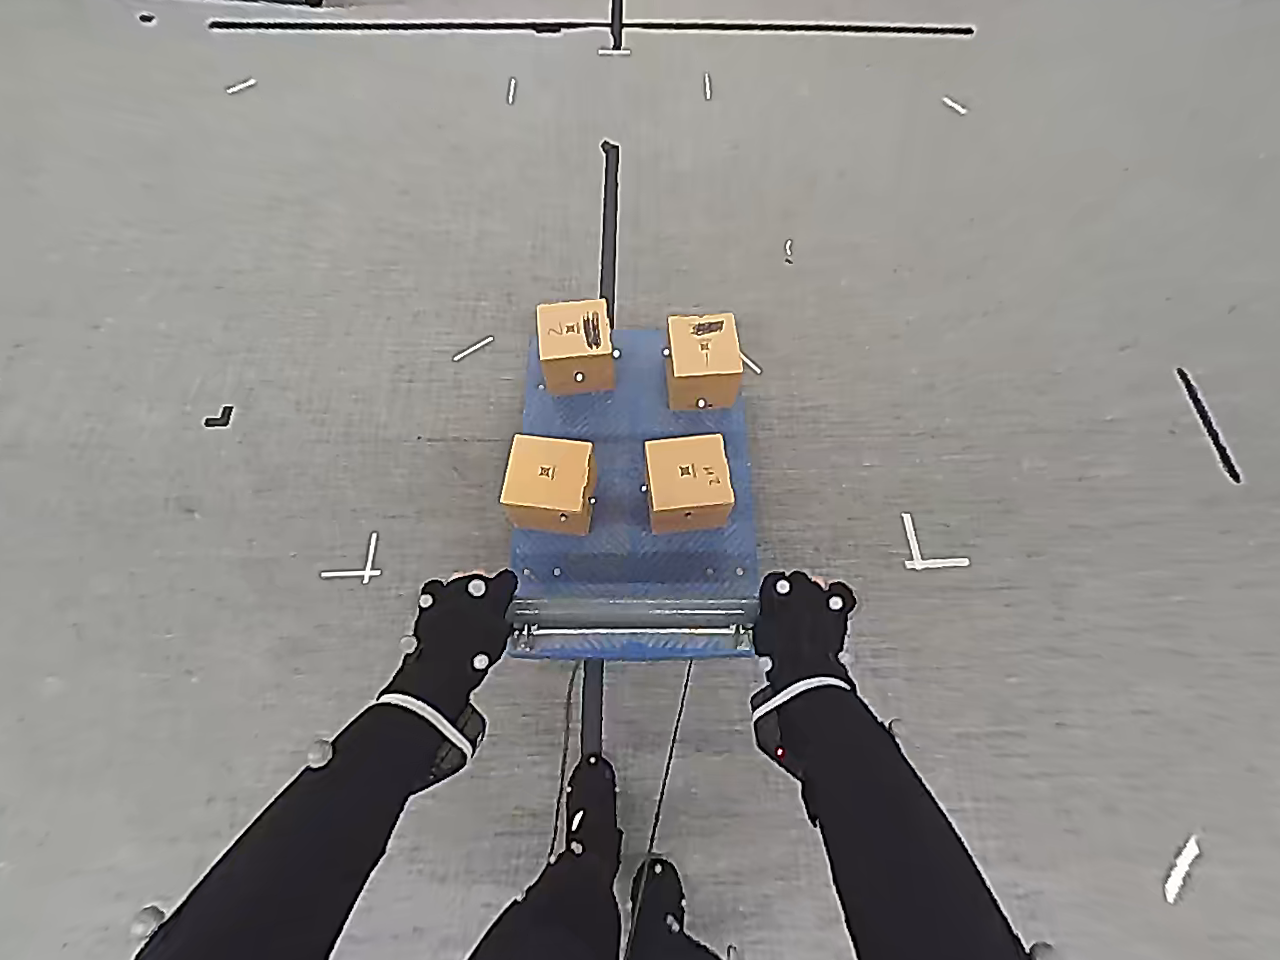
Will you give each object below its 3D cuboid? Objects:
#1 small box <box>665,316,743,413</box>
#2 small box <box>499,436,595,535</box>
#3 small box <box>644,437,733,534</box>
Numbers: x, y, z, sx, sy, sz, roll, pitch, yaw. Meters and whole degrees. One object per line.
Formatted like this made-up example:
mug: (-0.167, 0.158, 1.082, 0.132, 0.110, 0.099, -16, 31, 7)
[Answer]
small box: (0.154, -0.288, 1.363, 0.168, 0.176, 0.179, -4, 68, -2)
small box: (-0.202, 0.018, 1.229, 0.179, 0.176, 0.168, 7, 67, 1)
small box: (0.103, 0.018, 1.231, 0.179, 0.176, 0.168, -5, 67, -3)
